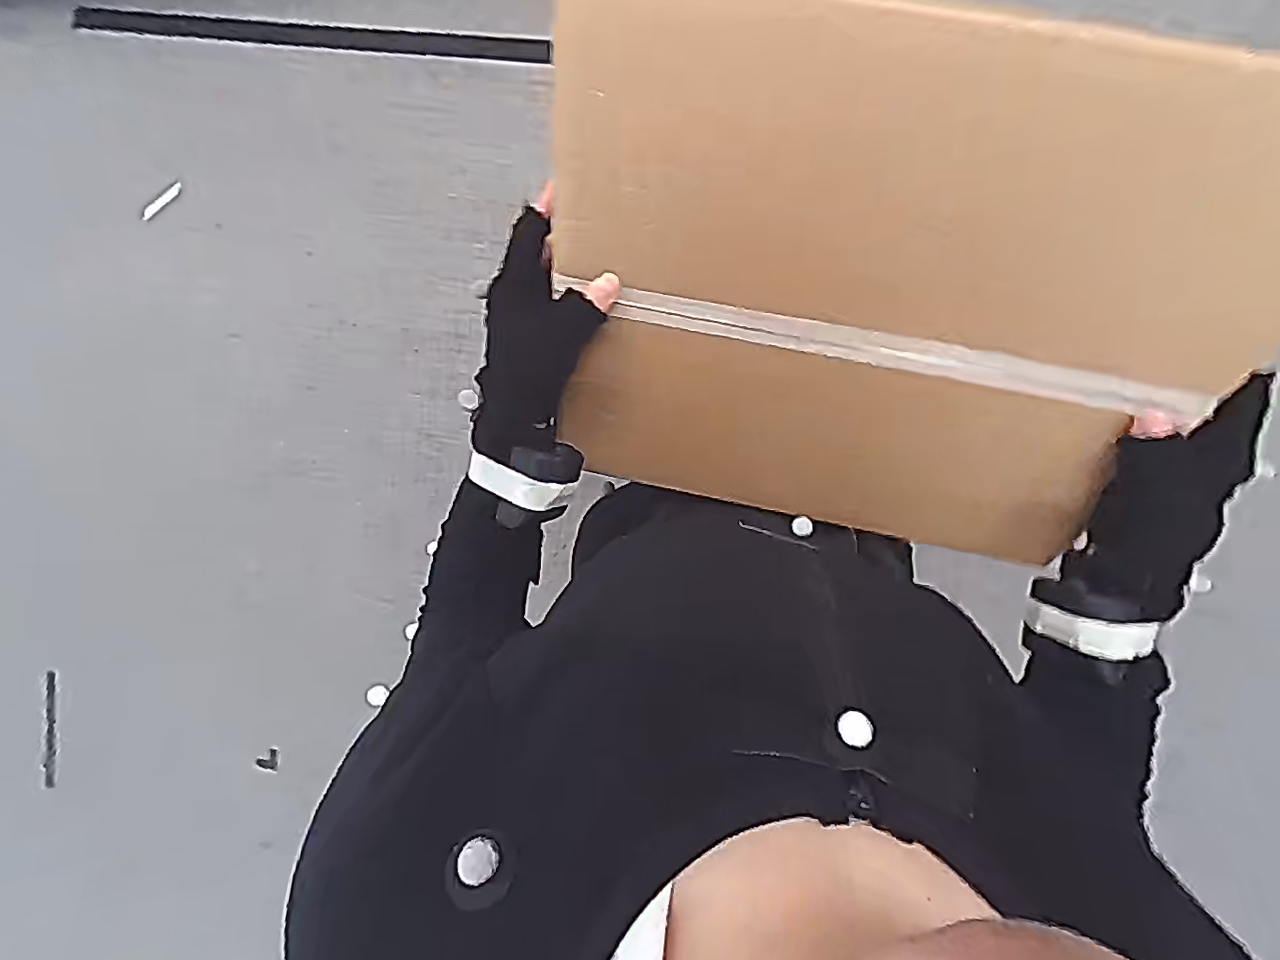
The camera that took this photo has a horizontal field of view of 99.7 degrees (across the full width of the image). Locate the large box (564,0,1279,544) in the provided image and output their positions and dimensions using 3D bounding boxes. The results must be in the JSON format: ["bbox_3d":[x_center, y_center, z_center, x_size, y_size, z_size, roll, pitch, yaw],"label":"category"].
[{"bbox_3d":[0.169,-0.194,0.454,0.408,0.320,0.320,12,135,3],"label":"large box"}]
